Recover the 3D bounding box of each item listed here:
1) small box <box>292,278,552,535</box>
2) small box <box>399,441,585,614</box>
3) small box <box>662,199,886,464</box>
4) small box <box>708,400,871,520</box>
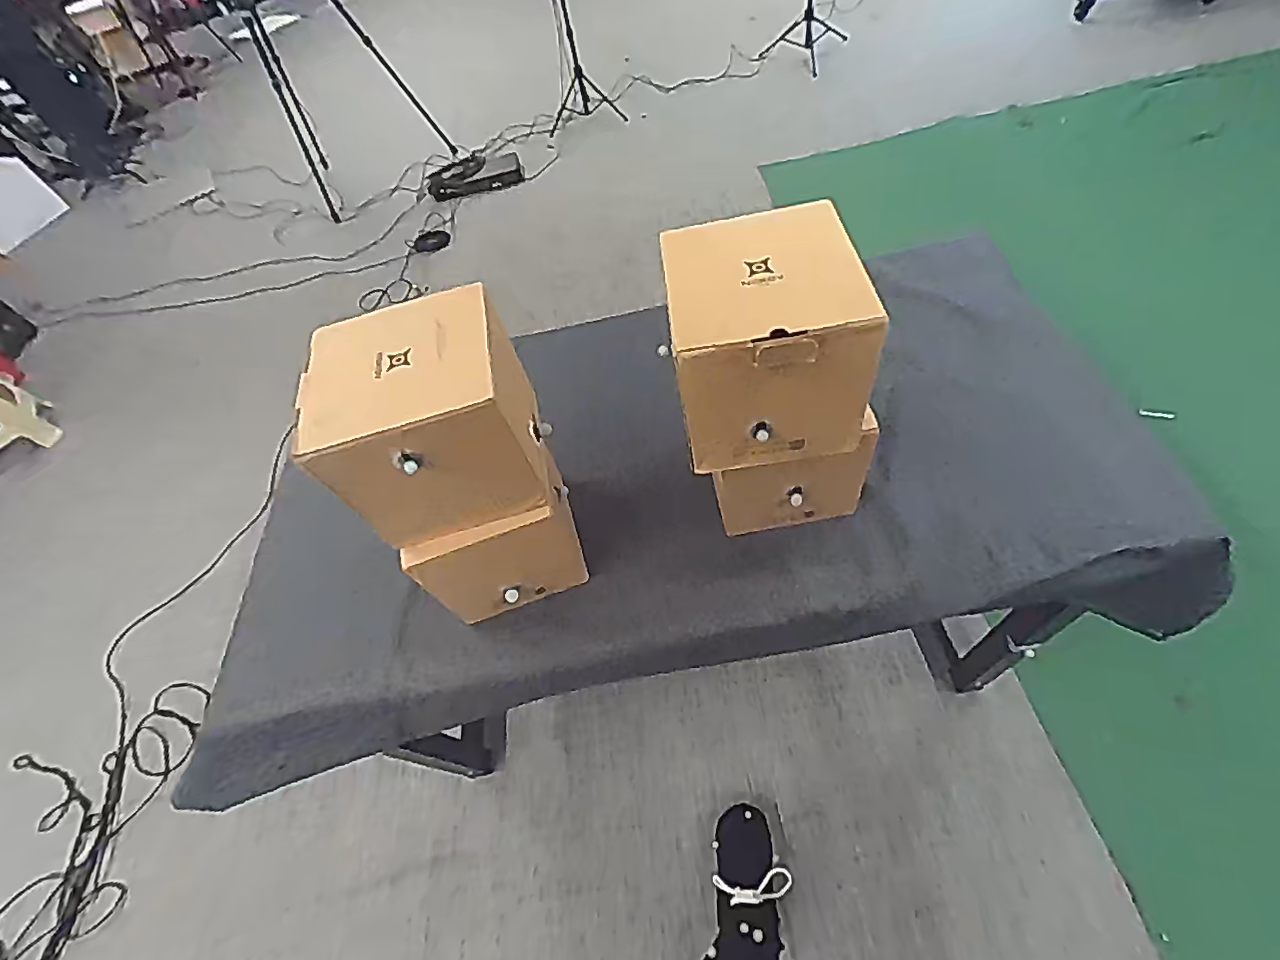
[{"bbox_3d":[-0.205,-0.065,0.547,0.179,0.176,0.168,-16,56,-1],"label":"small box"},{"bbox_3d":[-0.180,0.038,0.671,0.168,0.176,0.179,-20,55,-2],"label":"small box"},{"bbox_3d":[0.116,-0.140,0.535,0.168,0.176,0.179,-8,55,5],"label":"small box"},{"bbox_3d":[0.165,-0.064,0.673,0.168,0.176,0.179,-11,55,4],"label":"small box"}]
